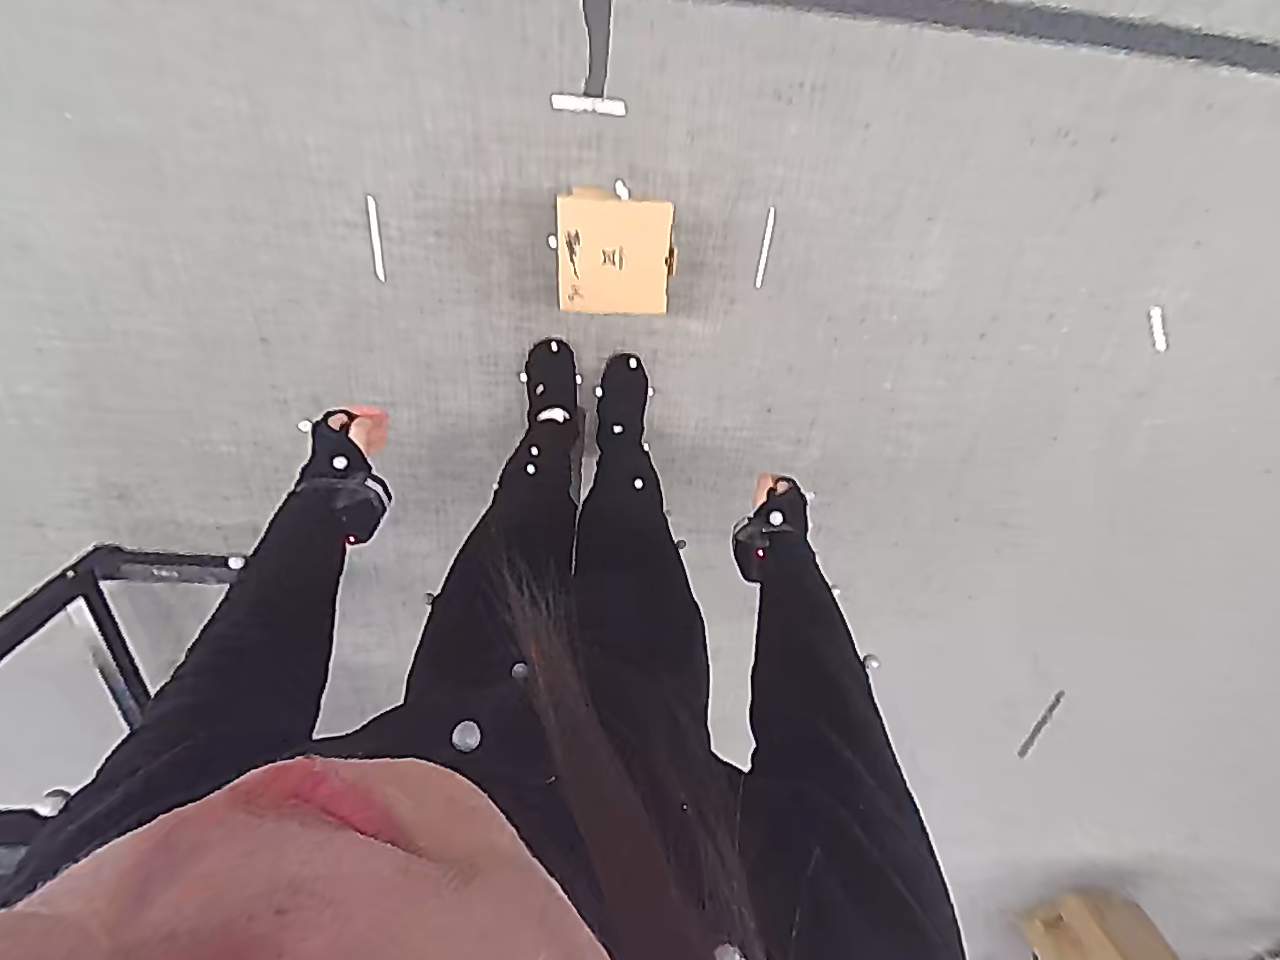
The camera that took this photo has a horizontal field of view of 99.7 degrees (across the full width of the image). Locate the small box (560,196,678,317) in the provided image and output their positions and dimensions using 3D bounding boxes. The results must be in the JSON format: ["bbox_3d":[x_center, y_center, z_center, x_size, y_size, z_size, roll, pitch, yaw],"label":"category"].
[{"bbox_3d":[-0.043,-0.376,0.901,0.179,0.176,0.168,0,119,-7],"label":"small box"}]
